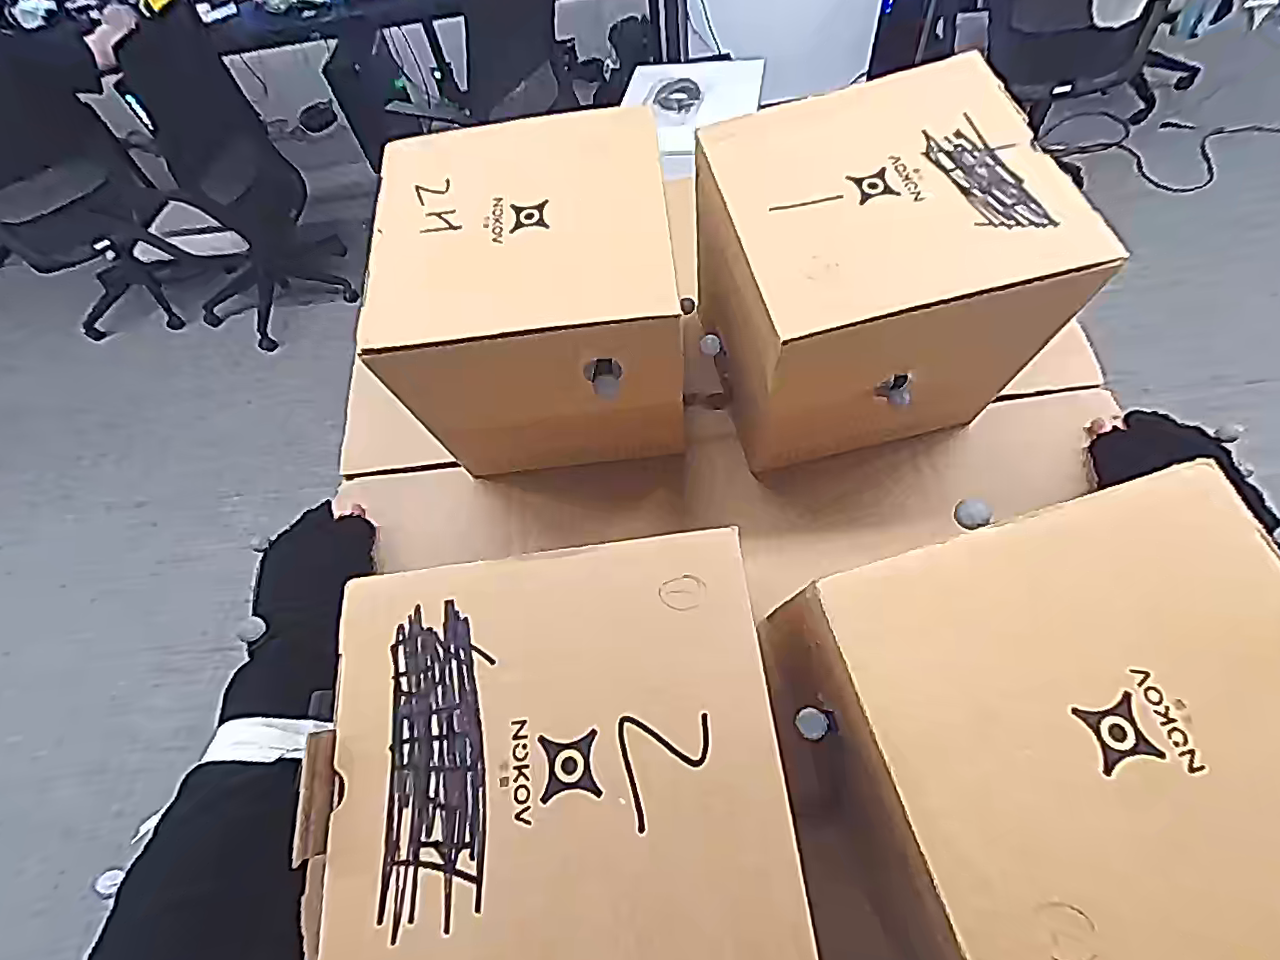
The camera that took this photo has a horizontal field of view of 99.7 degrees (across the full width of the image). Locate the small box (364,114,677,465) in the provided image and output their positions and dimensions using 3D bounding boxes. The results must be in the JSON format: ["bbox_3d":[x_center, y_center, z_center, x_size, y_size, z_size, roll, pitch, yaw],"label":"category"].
[{"bbox_3d":[-0.065,-0.123,0.398,0.179,0.176,0.168,-6,66,4],"label":"small box"}]
